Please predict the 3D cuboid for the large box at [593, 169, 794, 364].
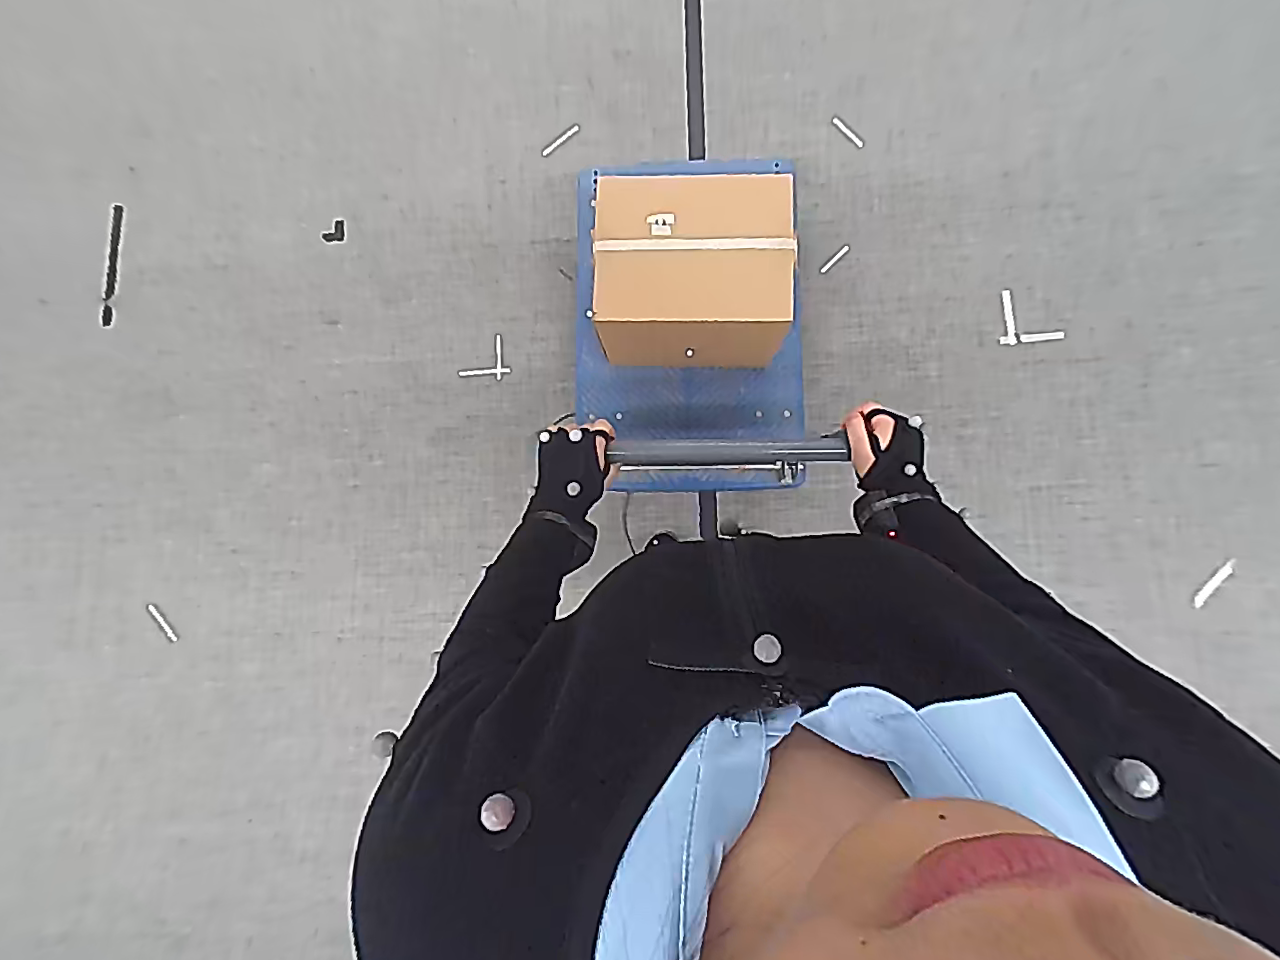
[{"bbox_3d":[0.119,-0.459,1.232,0.408,0.320,0.320,1,84,5],"label":"large box"}]
